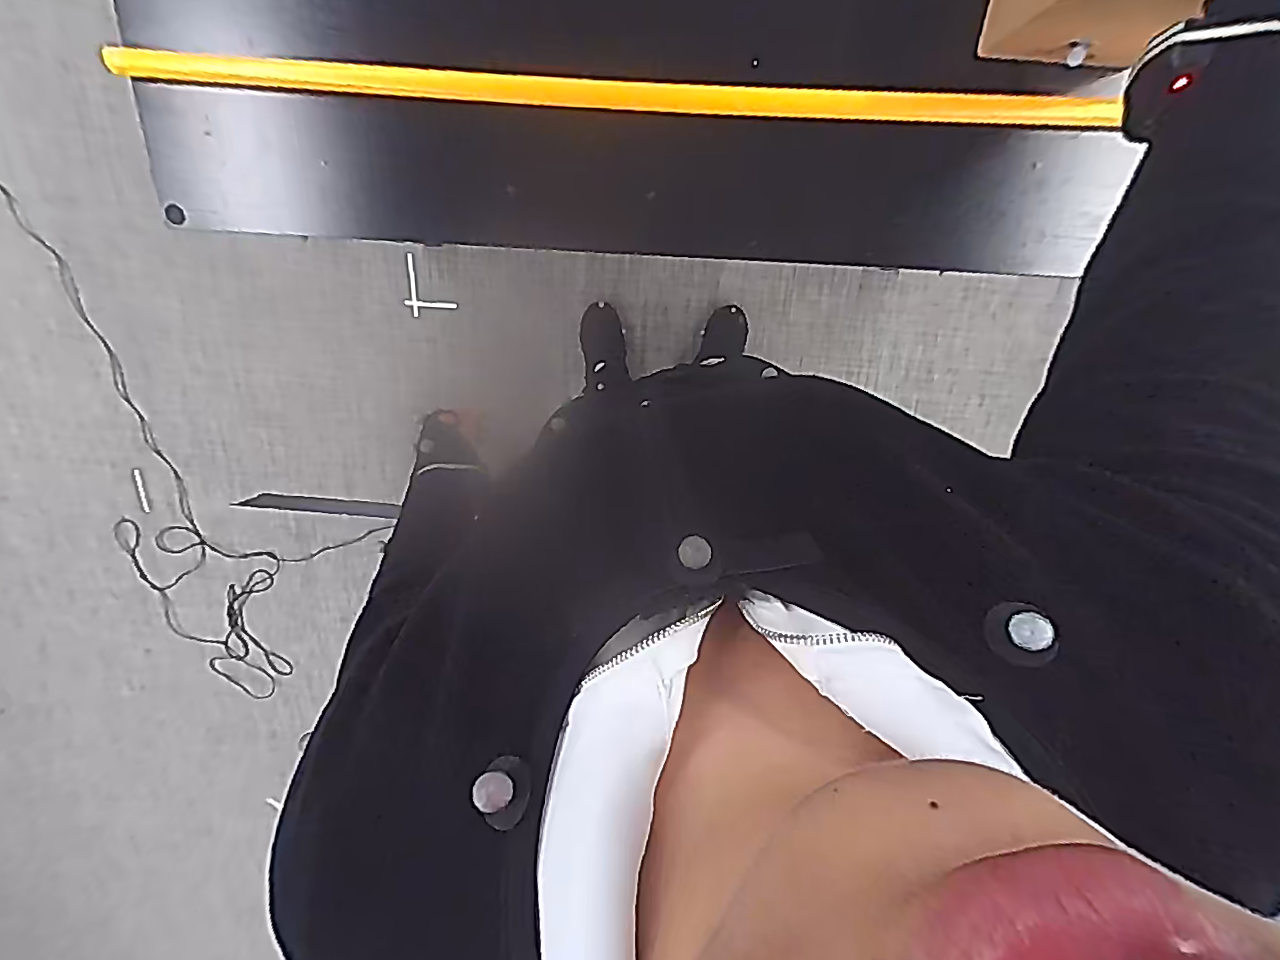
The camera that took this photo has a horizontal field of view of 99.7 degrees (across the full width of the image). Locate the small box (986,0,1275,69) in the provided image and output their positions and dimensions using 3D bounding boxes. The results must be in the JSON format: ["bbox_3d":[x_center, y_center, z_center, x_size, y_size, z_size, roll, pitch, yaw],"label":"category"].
[{"bbox_3d":[0.446,-0.501,0.473,0.168,0.176,0.179,6,111,1],"label":"small box"}]
